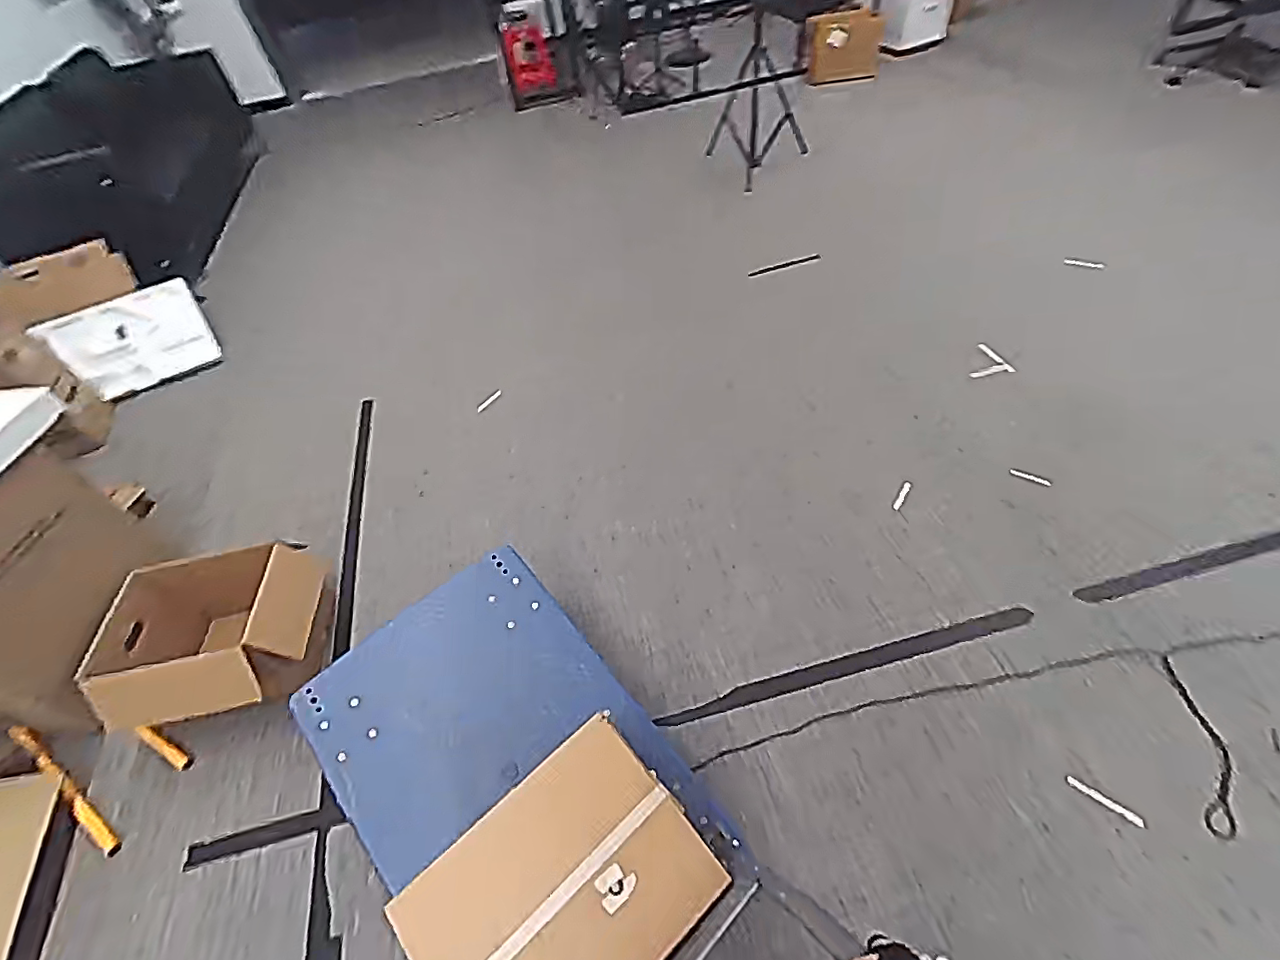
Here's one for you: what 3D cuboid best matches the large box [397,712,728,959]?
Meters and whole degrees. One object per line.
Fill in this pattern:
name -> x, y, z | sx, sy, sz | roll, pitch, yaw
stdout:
large box -> -0.116, 0.681, 0.931 | 0.408, 0.320, 0.320 | -38, 70, -21
